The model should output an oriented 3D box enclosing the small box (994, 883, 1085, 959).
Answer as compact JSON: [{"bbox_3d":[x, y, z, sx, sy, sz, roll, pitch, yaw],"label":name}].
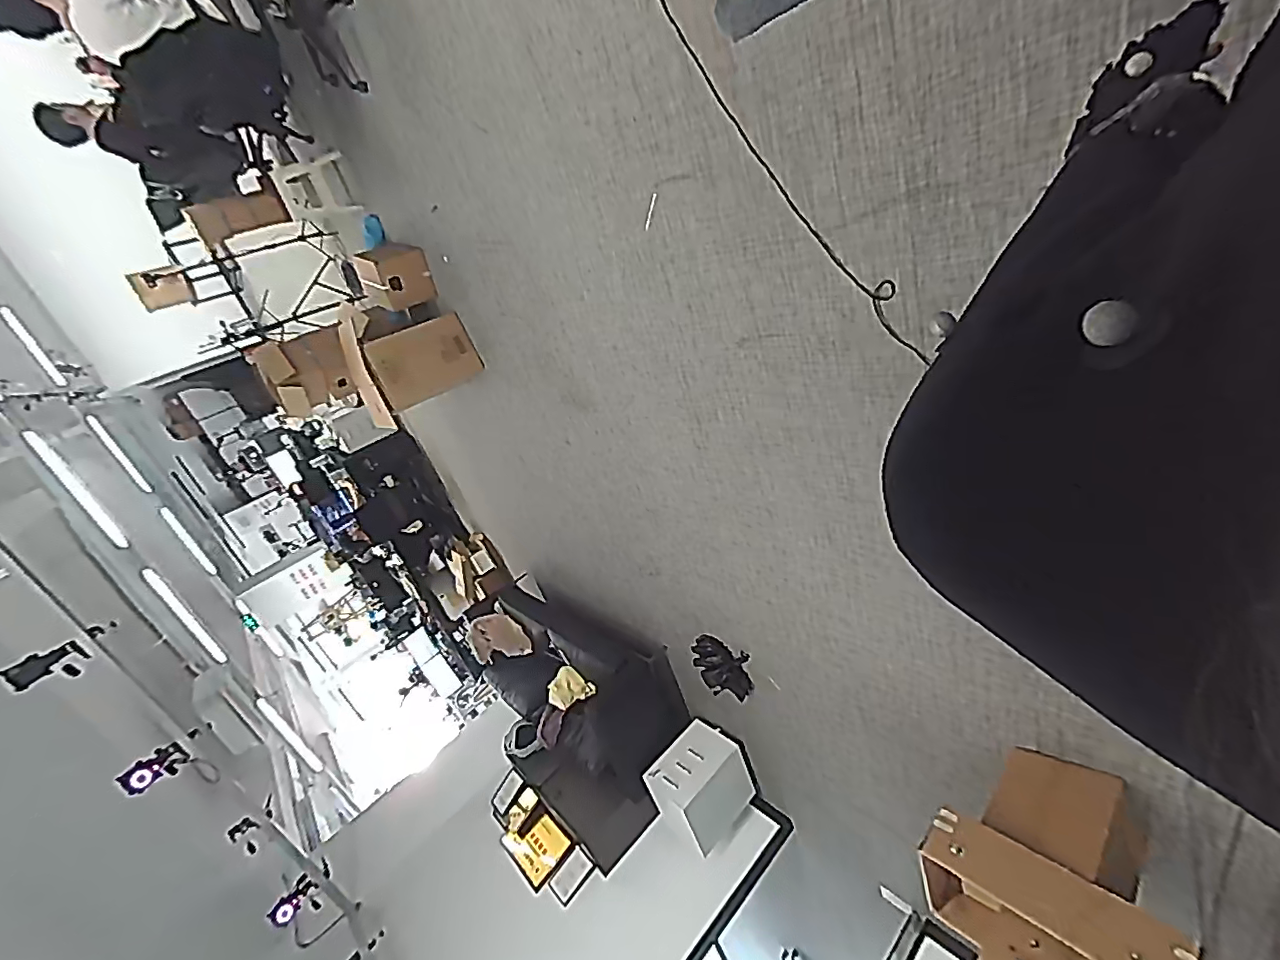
[{"bbox_3d":[1.159,1.332,1.564,0.168,0.176,0.179,2,122,53],"label":"small box"}]

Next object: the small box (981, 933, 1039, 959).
[{"bbox_3d":[1.043,1.417,1.484,0.168,0.176,0.179,4,122,53],"label":"small box"}]
